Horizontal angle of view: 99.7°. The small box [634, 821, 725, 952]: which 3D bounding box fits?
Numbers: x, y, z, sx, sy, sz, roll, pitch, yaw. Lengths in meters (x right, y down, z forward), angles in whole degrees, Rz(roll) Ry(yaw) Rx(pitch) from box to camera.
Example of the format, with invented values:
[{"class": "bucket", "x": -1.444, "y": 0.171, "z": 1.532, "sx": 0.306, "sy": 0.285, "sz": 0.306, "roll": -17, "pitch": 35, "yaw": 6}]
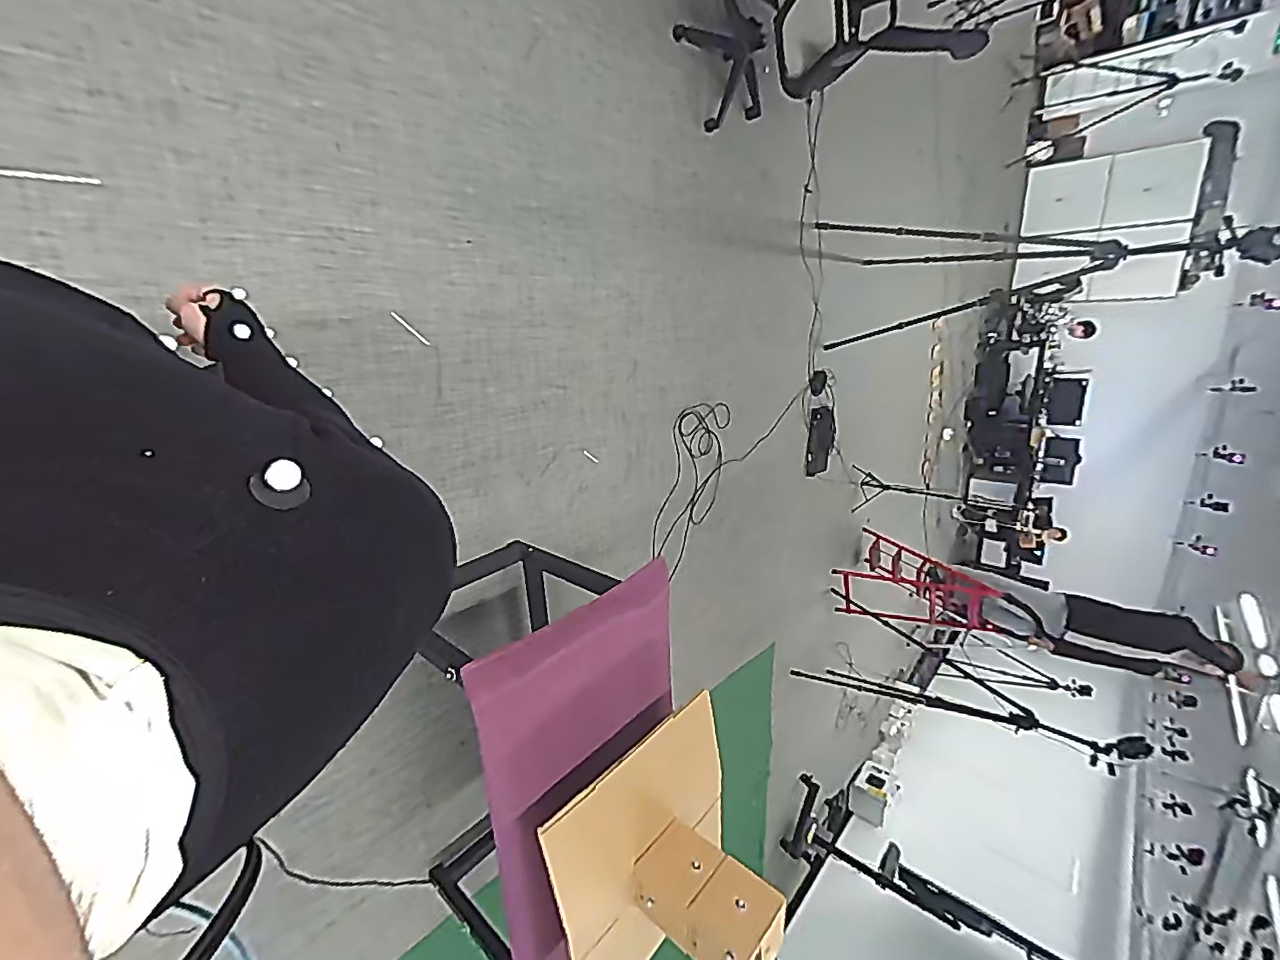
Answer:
[{"class": "small box", "x": 0.102, "y": 1.046, "z": 1.411, "sx": 0.179, "sy": 0.176, "sz": 0.168, "roll": -21, "pitch": 116, "yaw": -44}]
